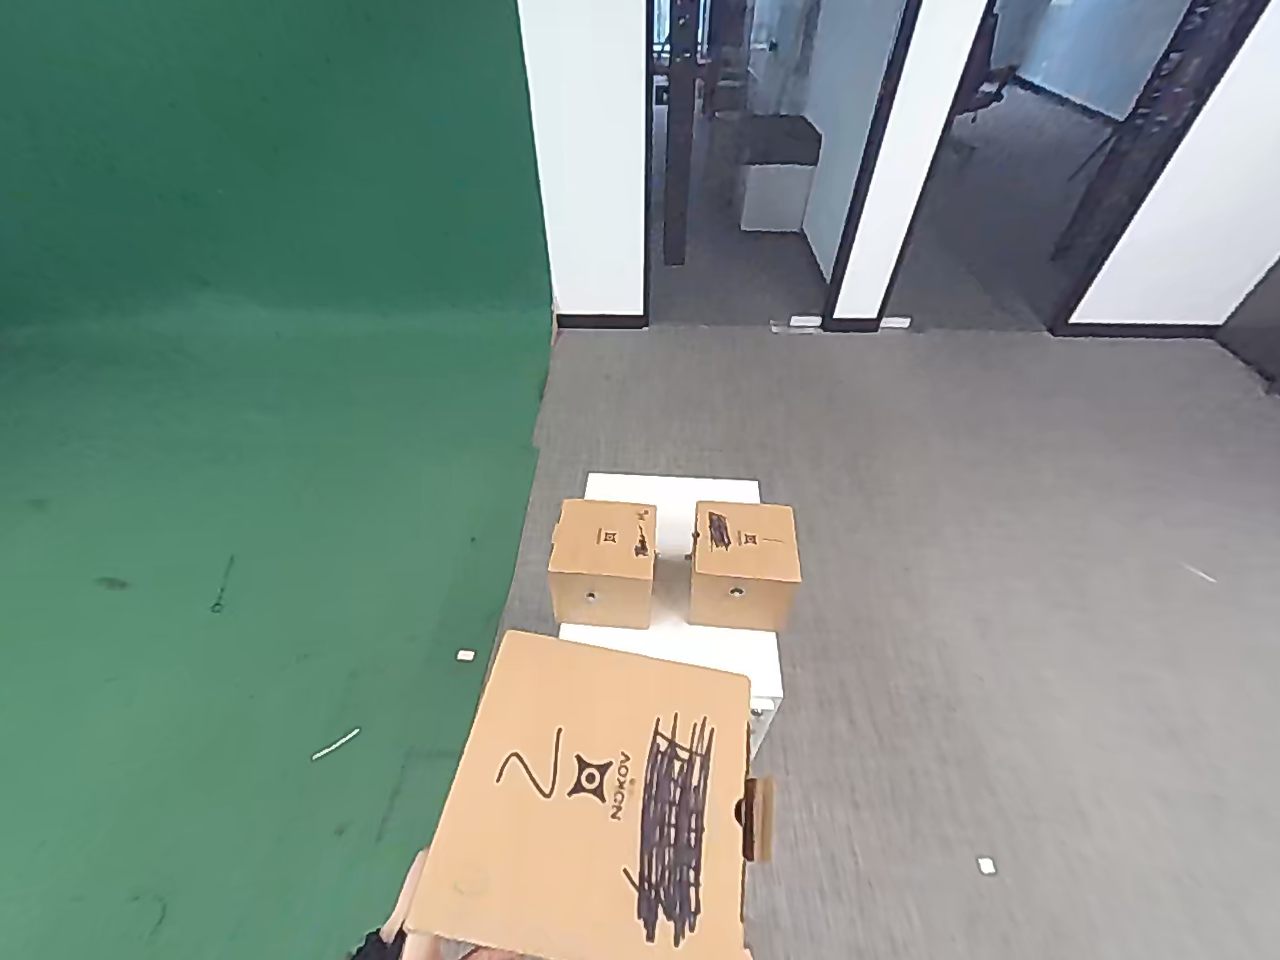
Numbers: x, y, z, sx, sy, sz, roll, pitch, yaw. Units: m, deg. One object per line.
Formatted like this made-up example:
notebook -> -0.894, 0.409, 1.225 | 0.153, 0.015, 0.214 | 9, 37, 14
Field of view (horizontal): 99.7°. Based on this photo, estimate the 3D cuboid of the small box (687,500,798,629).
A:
small box -> 0.180, 0.157, 0.996 | 0.179, 0.176, 0.168 | 5, 46, 4

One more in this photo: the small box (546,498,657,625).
small box -> -0.063, 0.152, 0.996 | 0.179, 0.176, 0.168 | 4, 47, 2
